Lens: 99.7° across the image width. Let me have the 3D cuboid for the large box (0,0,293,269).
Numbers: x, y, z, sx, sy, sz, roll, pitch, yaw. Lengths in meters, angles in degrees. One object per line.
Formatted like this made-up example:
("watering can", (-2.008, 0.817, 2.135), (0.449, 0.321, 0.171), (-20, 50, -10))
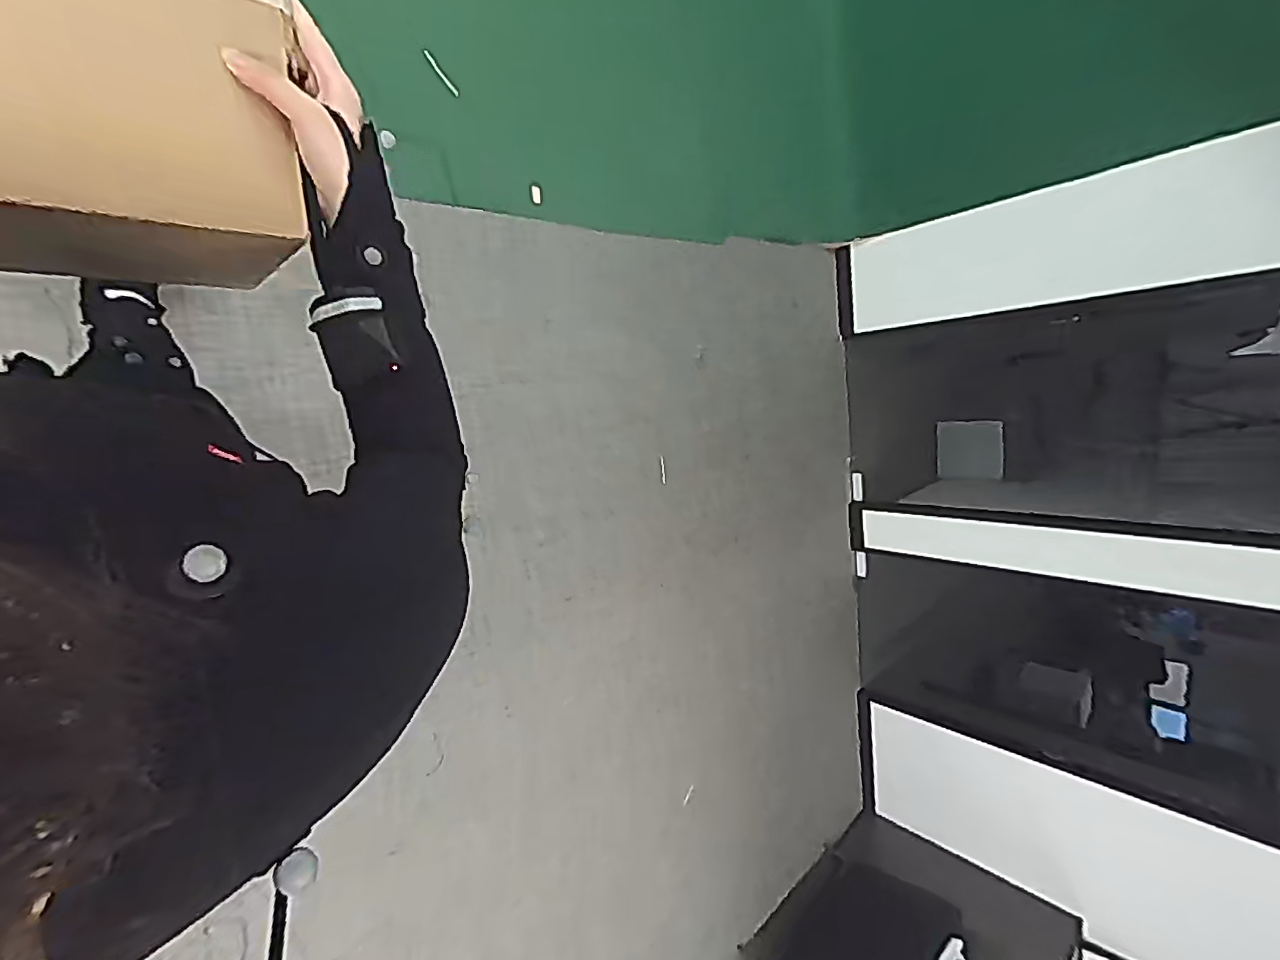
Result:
("large box", (-0.507, -0.333, 0.360), (0.408, 0.320, 0.320), (-11, 105, -39))
